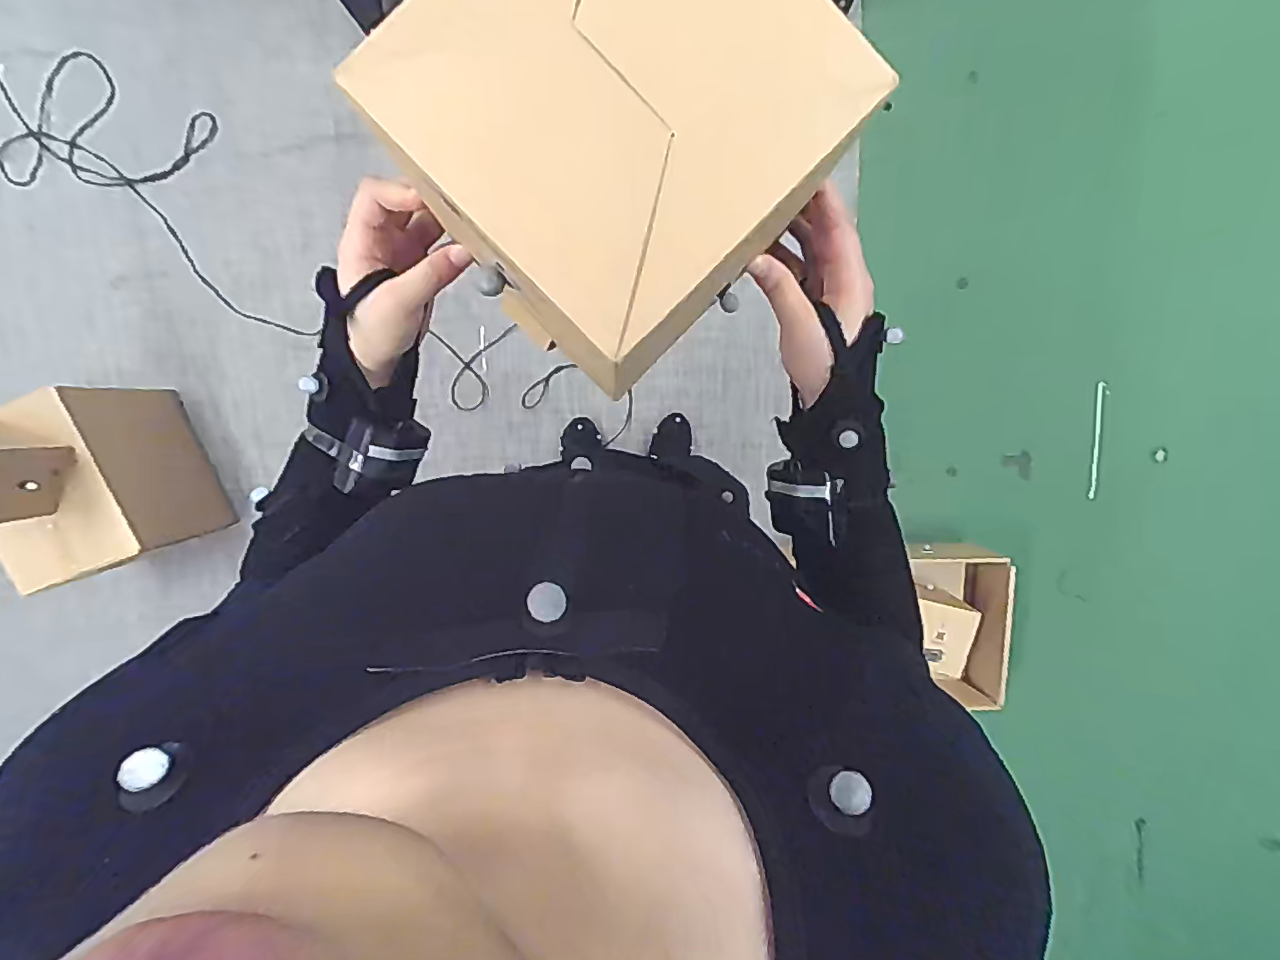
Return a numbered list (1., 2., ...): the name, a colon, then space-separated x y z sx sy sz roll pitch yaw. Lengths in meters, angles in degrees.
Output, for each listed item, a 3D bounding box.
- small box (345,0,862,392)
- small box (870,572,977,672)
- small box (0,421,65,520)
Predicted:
1. small box: -0.015 -0.172 0.306 0.168 0.176 0.179 45 90 -4
2. small box: 0.723 0.362 1.403 0.168 0.176 0.179 14 98 -1
3. small box: -1.351 -0.022 1.104 0.179 0.176 0.168 19 97 -5
